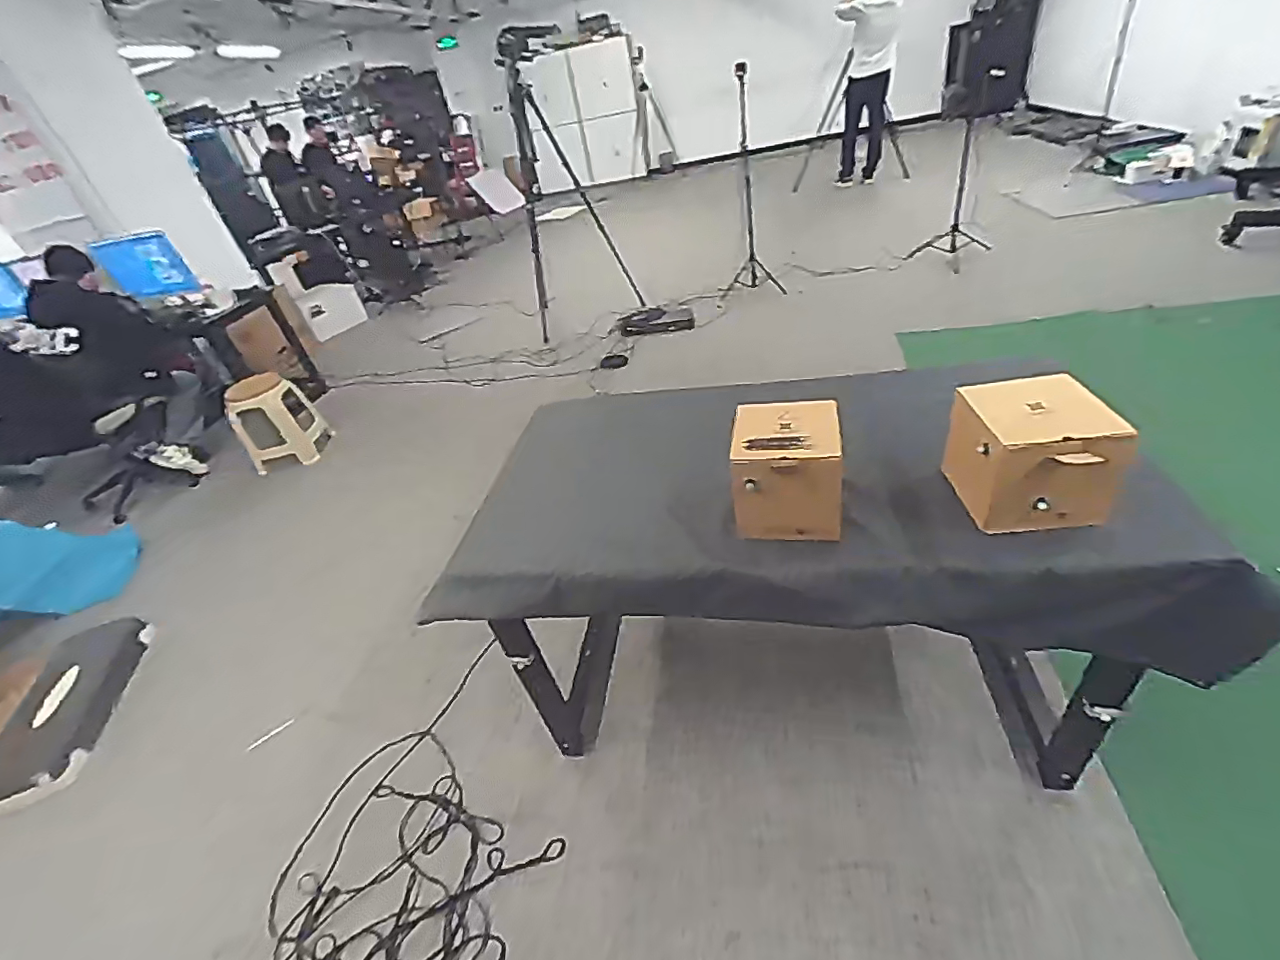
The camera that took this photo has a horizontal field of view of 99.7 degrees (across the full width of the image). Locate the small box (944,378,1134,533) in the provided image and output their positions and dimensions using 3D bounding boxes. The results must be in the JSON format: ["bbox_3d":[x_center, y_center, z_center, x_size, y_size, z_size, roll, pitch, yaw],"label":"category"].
[{"bbox_3d":[0.600,-0.039,0.846,0.168,0.176,0.179,-7,37,9],"label":"small box"}]
